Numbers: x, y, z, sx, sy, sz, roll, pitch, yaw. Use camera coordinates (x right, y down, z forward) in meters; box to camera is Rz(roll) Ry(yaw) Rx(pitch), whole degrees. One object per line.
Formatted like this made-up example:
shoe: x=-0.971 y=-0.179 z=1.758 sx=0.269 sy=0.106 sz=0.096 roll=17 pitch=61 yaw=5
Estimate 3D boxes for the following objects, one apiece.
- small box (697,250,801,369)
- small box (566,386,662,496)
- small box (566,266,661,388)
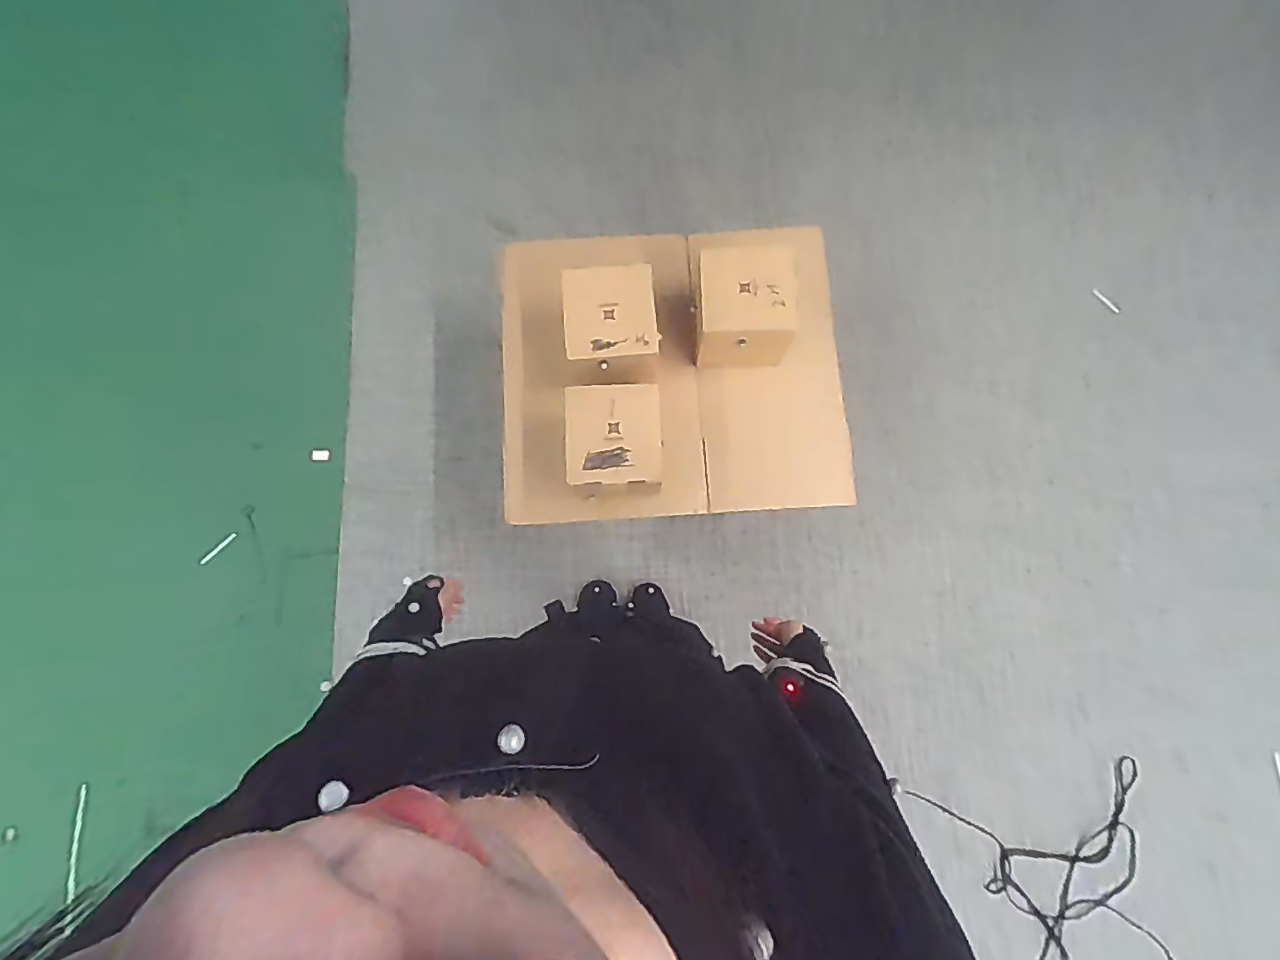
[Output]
small box: x=0.201 y=-0.322 z=1.047 sx=0.179 sy=0.176 sz=0.168 roll=0 pitch=80 yaw=2
small box: x=-0.042 y=-0.064 z=1.003 sx=0.168 sy=0.176 sz=0.179 roll=-2 pitch=80 yaw=0
small box: x=-0.049 y=-0.283 z=1.040 sx=0.168 sy=0.176 sz=0.179 roll=-4 pitch=79 yaw=1
